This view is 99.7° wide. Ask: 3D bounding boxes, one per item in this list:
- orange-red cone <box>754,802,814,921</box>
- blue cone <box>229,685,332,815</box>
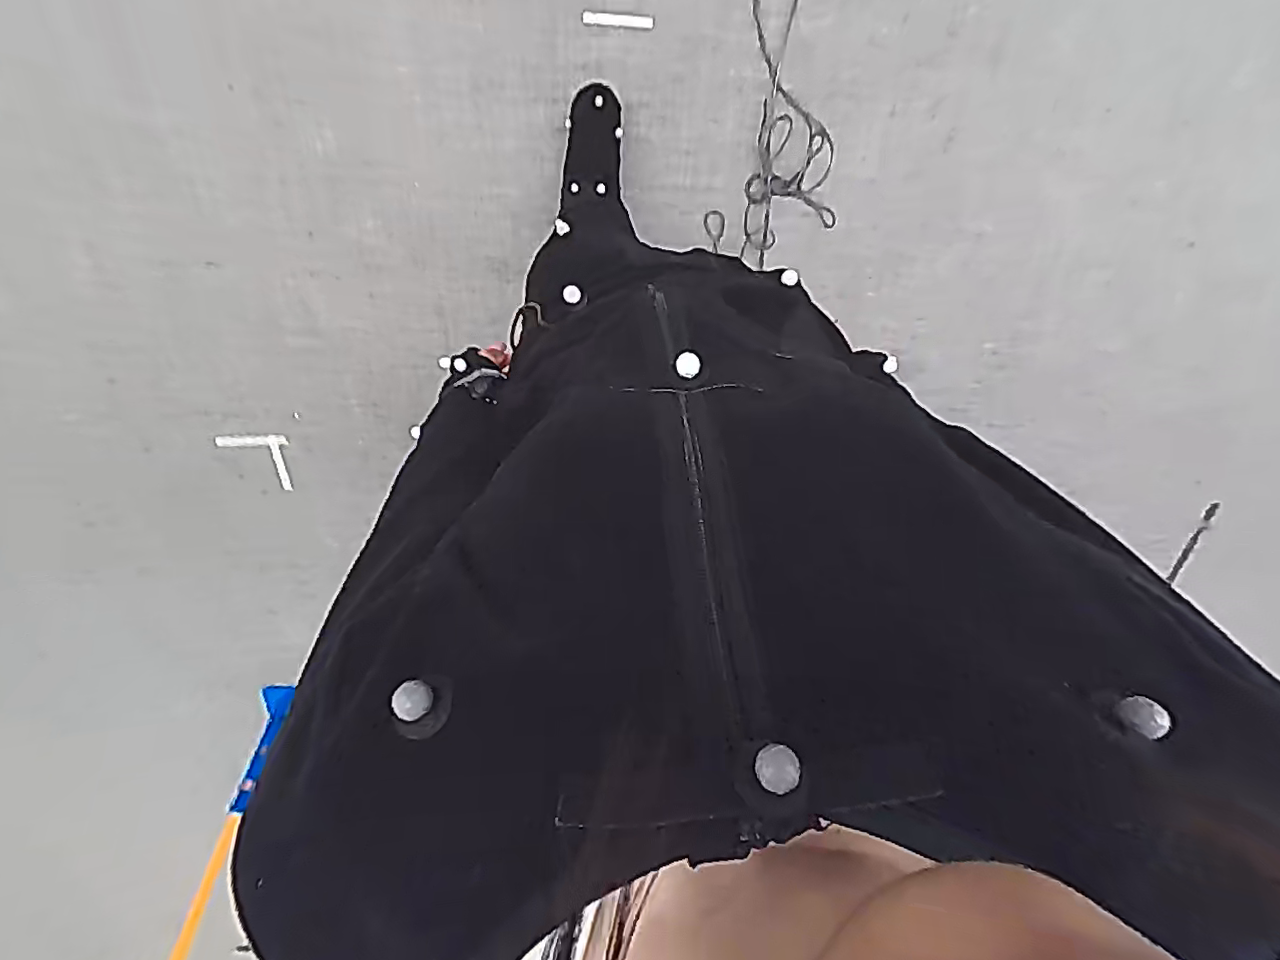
[{"bbox_3d":[0.581,1.448,2.040,0.198,0.360,0.199,3,117,-5],"label":"orange-red cone"},{"bbox_3d":[-1.108,0.822,1.632,0.193,0.380,0.192,3,115,-6],"label":"blue cone"}]
